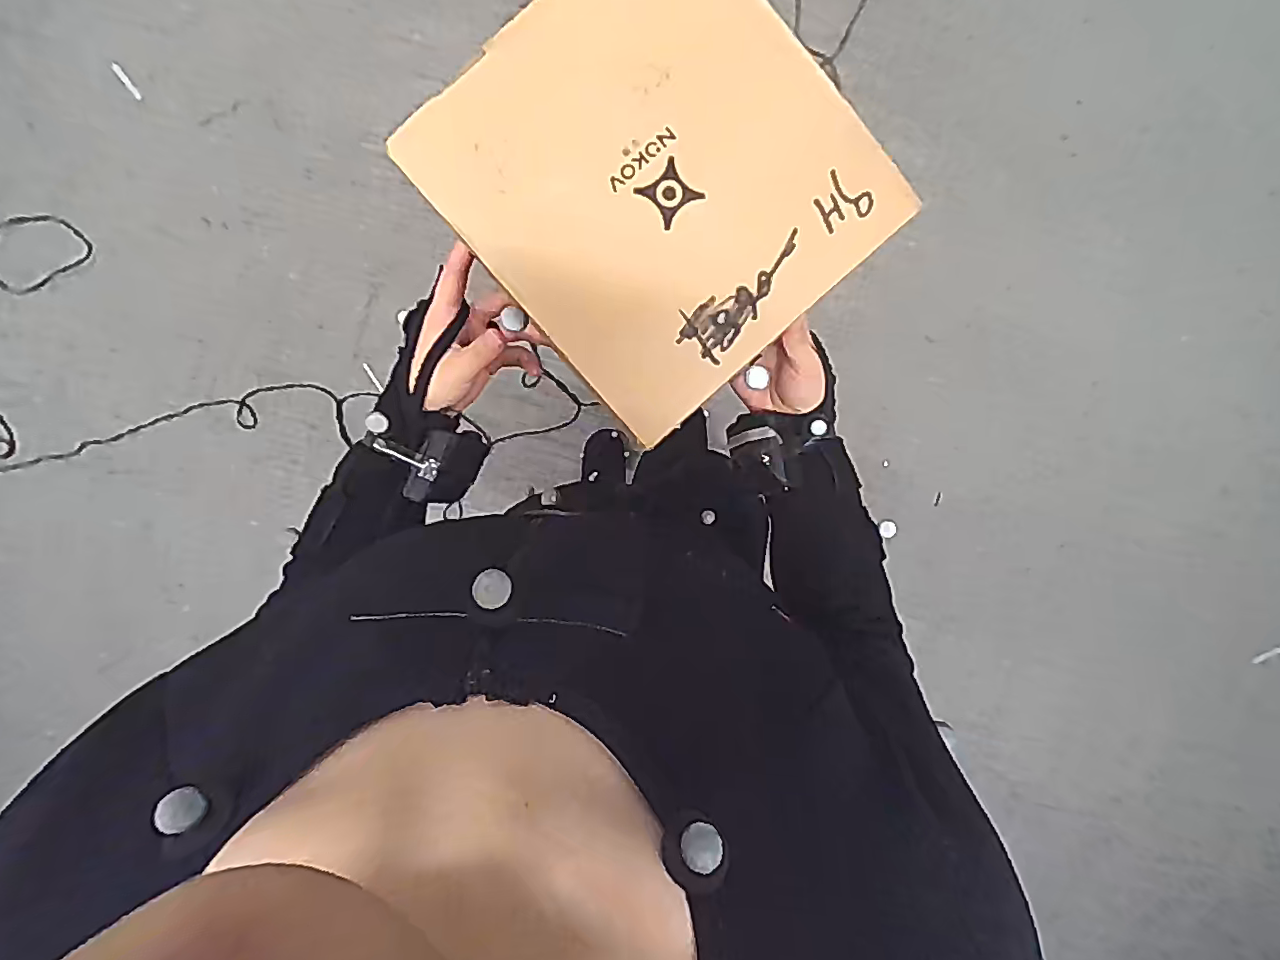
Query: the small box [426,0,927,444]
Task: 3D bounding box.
[{"bbox_3d":[0.016,-0.134,0.327,0.168,0.176,0.179,-42,94,2],"label":"small box"}]
